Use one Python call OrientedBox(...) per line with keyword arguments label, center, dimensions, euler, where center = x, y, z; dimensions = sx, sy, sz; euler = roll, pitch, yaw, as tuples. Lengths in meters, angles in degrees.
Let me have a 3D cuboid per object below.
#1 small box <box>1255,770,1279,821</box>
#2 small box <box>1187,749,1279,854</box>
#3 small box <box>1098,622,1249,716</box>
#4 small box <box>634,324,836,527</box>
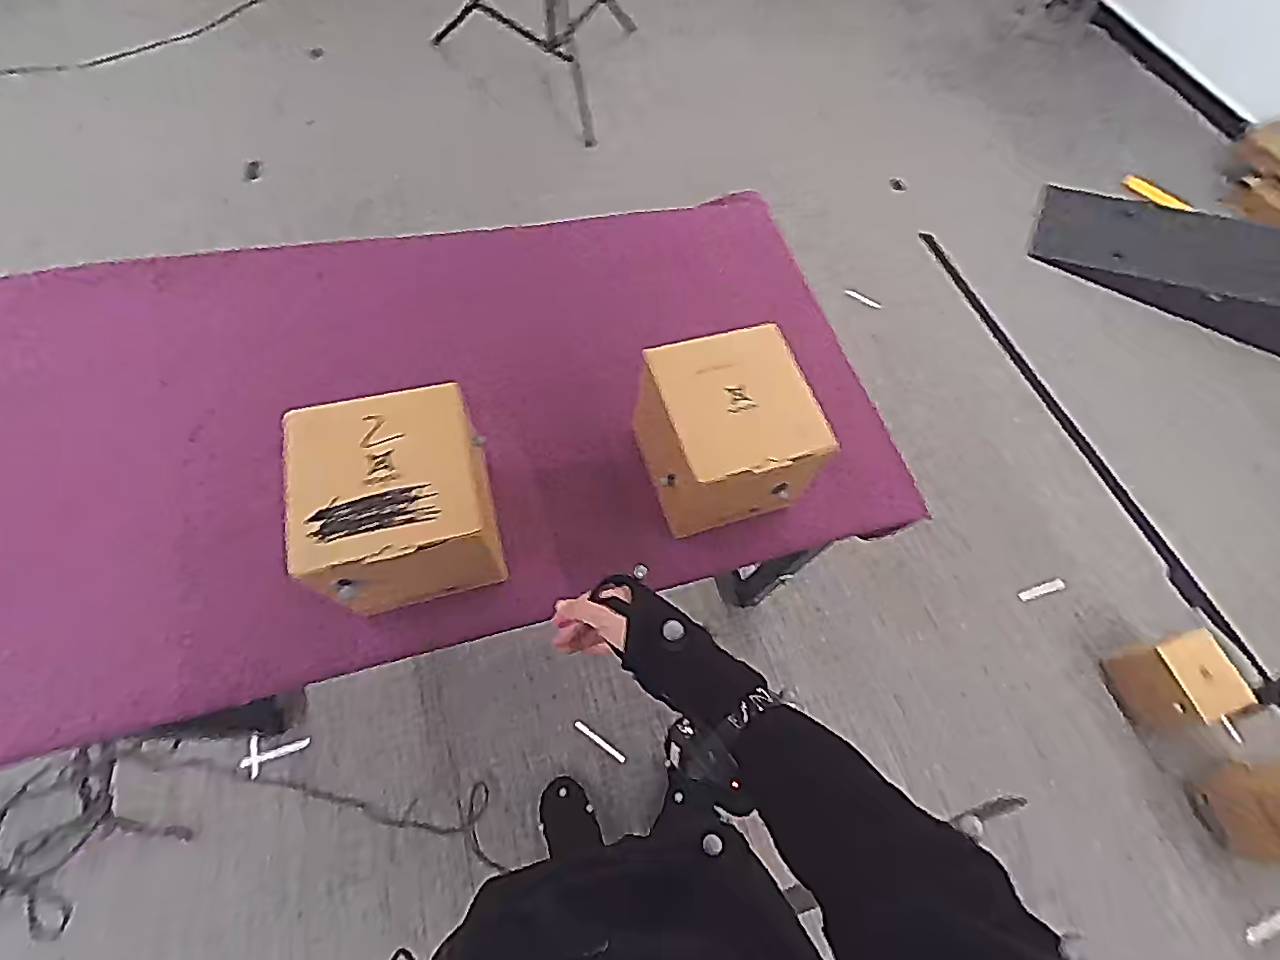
OrientedBox(label="small box", center=(1.428, 0.673, 1.083), dimensions=(0.168, 0.176, 0.179), euler=(-13, 68, -11))
OrientedBox(label="small box", center=(1.428, 0.733, 1.237), dimensions=(0.179, 0.176, 0.168), euler=(-15, 68, -13))
OrientedBox(label="small box", center=(1.311, 0.474, 1.346), dimensions=(0.168, 0.176, 0.179), euler=(-14, 68, -12))
OrientedBox(label="small box", center=(0.100, -0.056, 0.660), dimensions=(0.168, 0.176, 0.179), euler=(-15, 67, -13))
